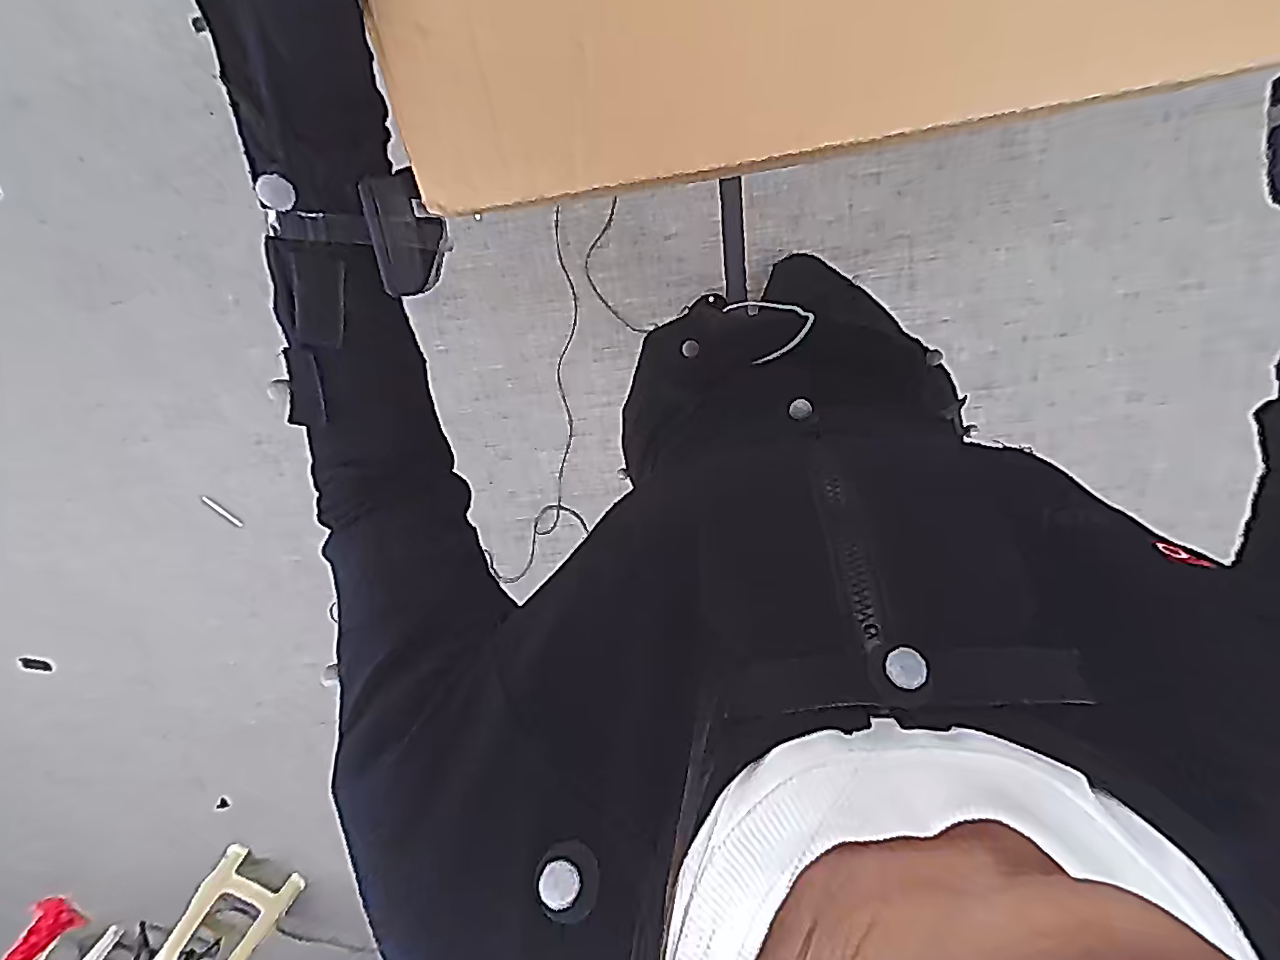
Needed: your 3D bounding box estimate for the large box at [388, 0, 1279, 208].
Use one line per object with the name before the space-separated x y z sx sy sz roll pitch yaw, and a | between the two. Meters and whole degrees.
large box | 0.075 -0.371 0.324 0.408 0.320 0.320 -7 117 8
